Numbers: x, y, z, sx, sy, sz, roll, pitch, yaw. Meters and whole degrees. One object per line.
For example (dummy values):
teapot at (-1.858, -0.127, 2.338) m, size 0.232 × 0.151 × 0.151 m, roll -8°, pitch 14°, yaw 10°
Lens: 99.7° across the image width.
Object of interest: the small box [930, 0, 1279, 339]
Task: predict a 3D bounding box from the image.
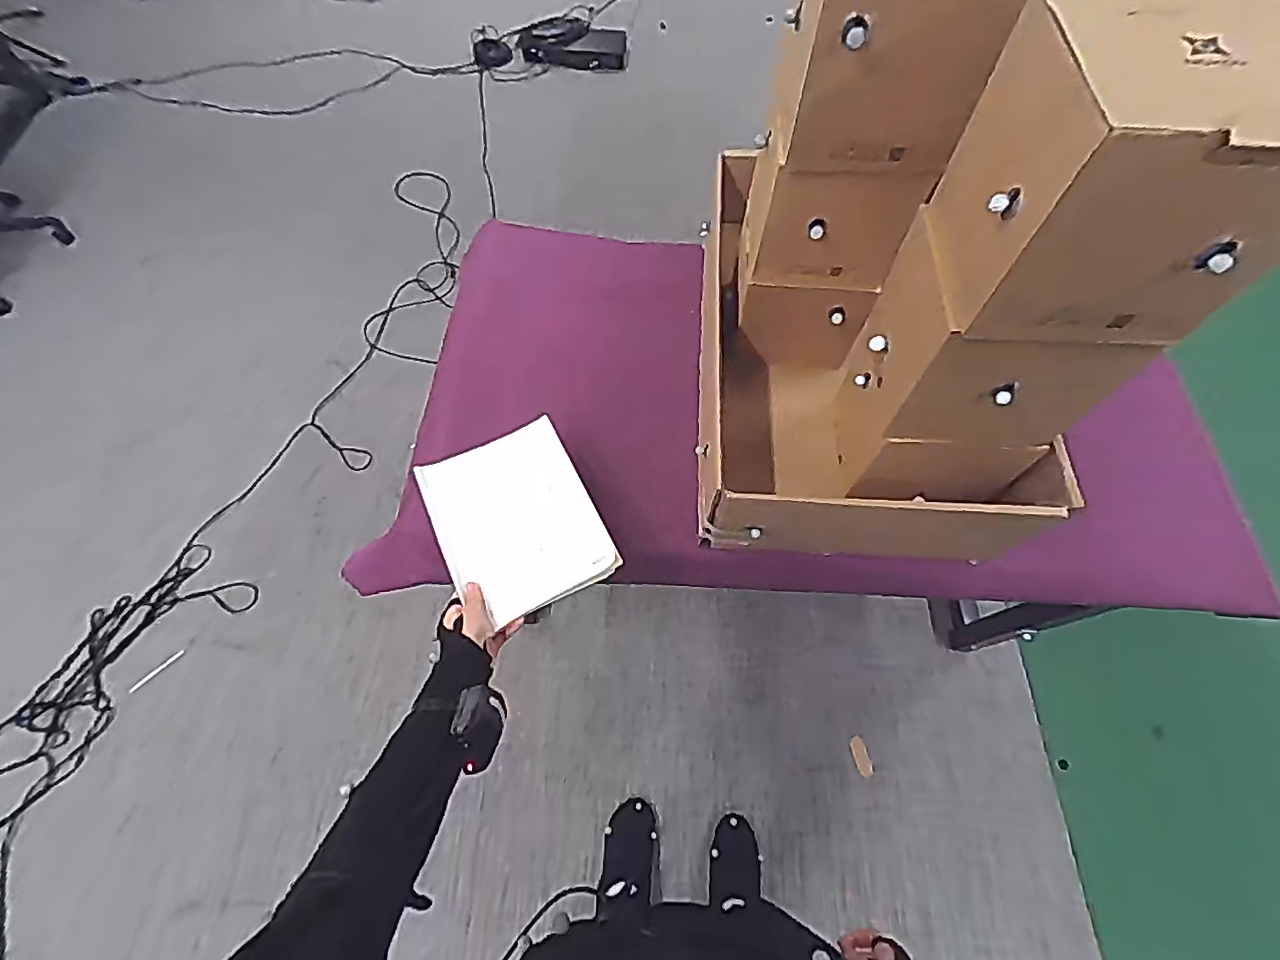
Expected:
small box at (0.345, -0.226, 0.405) m, size 0.168 × 0.176 × 0.179 m, roll 4°, pitch 62°, yaw 4°

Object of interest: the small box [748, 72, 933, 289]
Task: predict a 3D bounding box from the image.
small box at (0.229, -0.358, 0.663) m, size 0.168 × 0.176 × 0.179 m, roll 4°, pitch 65°, yaw 3°

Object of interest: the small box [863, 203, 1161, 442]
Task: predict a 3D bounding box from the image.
small box at (0.348, -0.152, 0.550) m, size 0.179 × 0.176 × 0.168 m, roll 3°, pitch 62°, yaw 5°
